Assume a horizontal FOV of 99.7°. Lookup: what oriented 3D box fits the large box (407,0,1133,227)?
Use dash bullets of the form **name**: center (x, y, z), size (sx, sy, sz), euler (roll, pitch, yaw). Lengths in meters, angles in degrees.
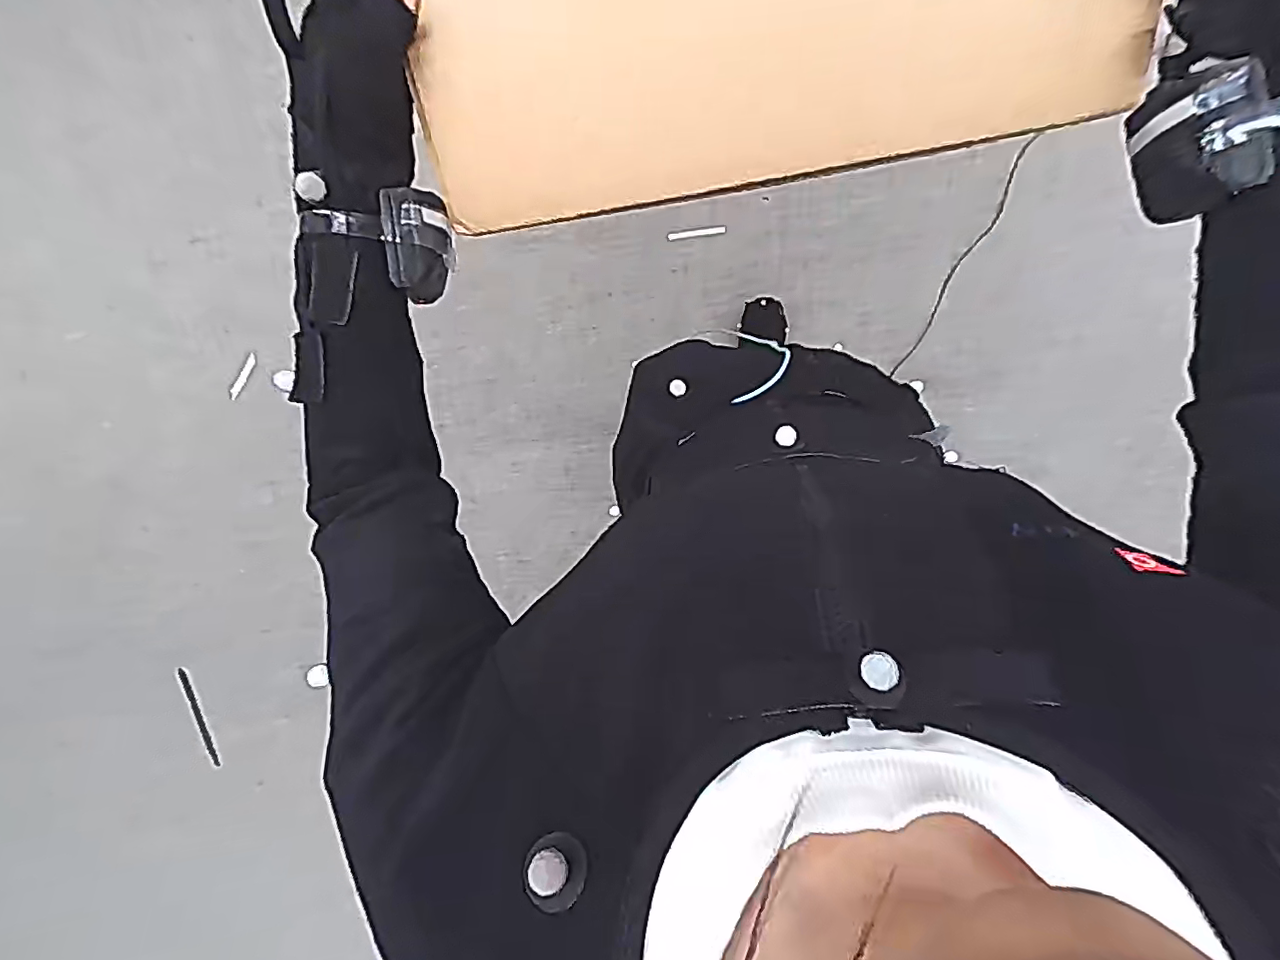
- **large box**: center (0.064, -0.400, 0.407), size (0.408, 0.320, 0.320), euler (-6, 117, 10)
